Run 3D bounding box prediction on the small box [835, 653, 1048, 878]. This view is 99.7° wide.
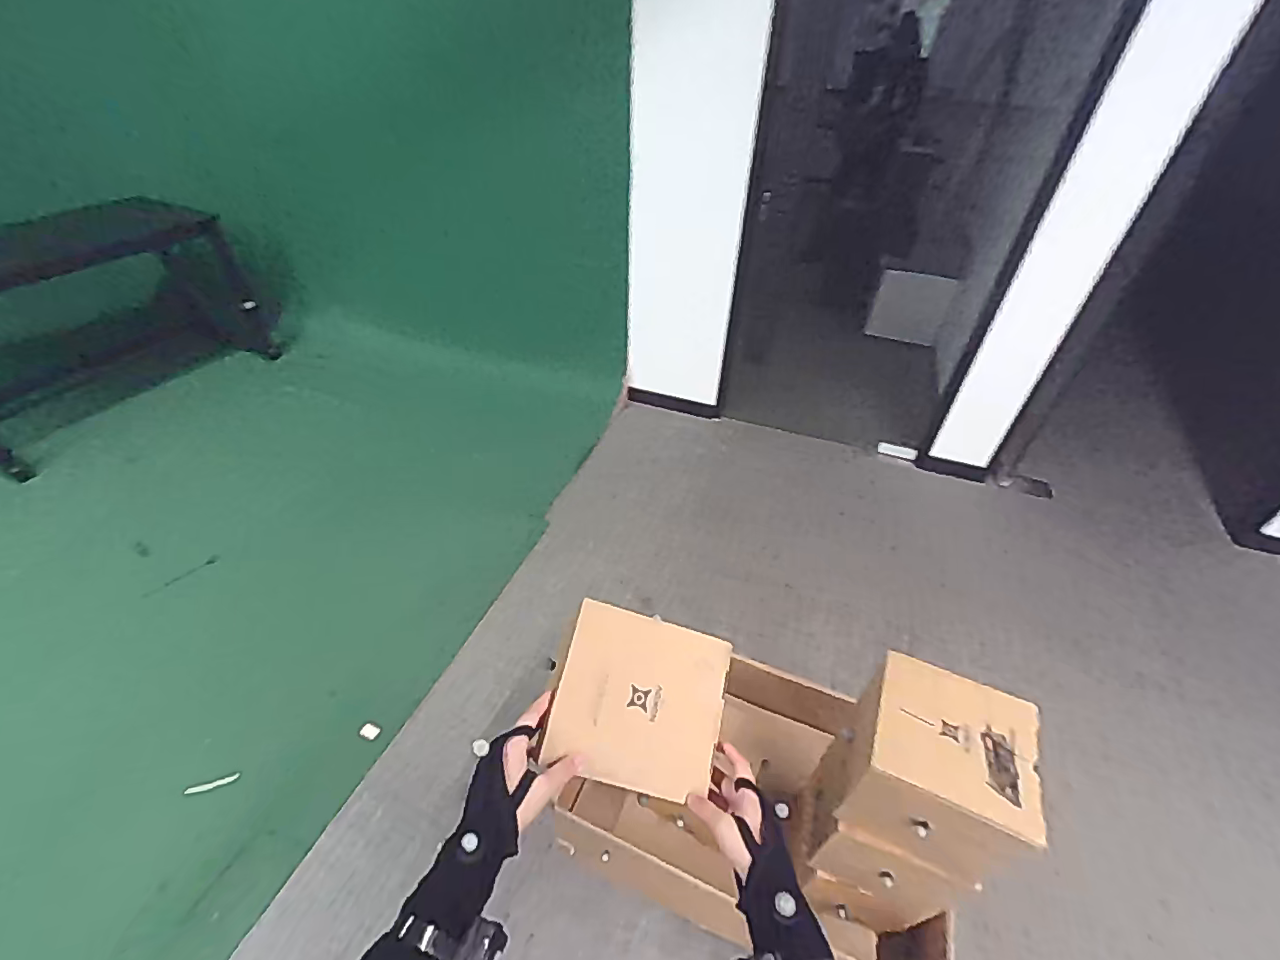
[{"bbox_3d":[0.366,0.357,0.674,0.179,0.176,0.168,19,44,19],"label":"small box"}]

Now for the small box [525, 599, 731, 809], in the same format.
[{"bbox_3d":[-0.020,0.252,0.621,0.179,0.176,0.168,19,64,-7],"label":"small box"}]
